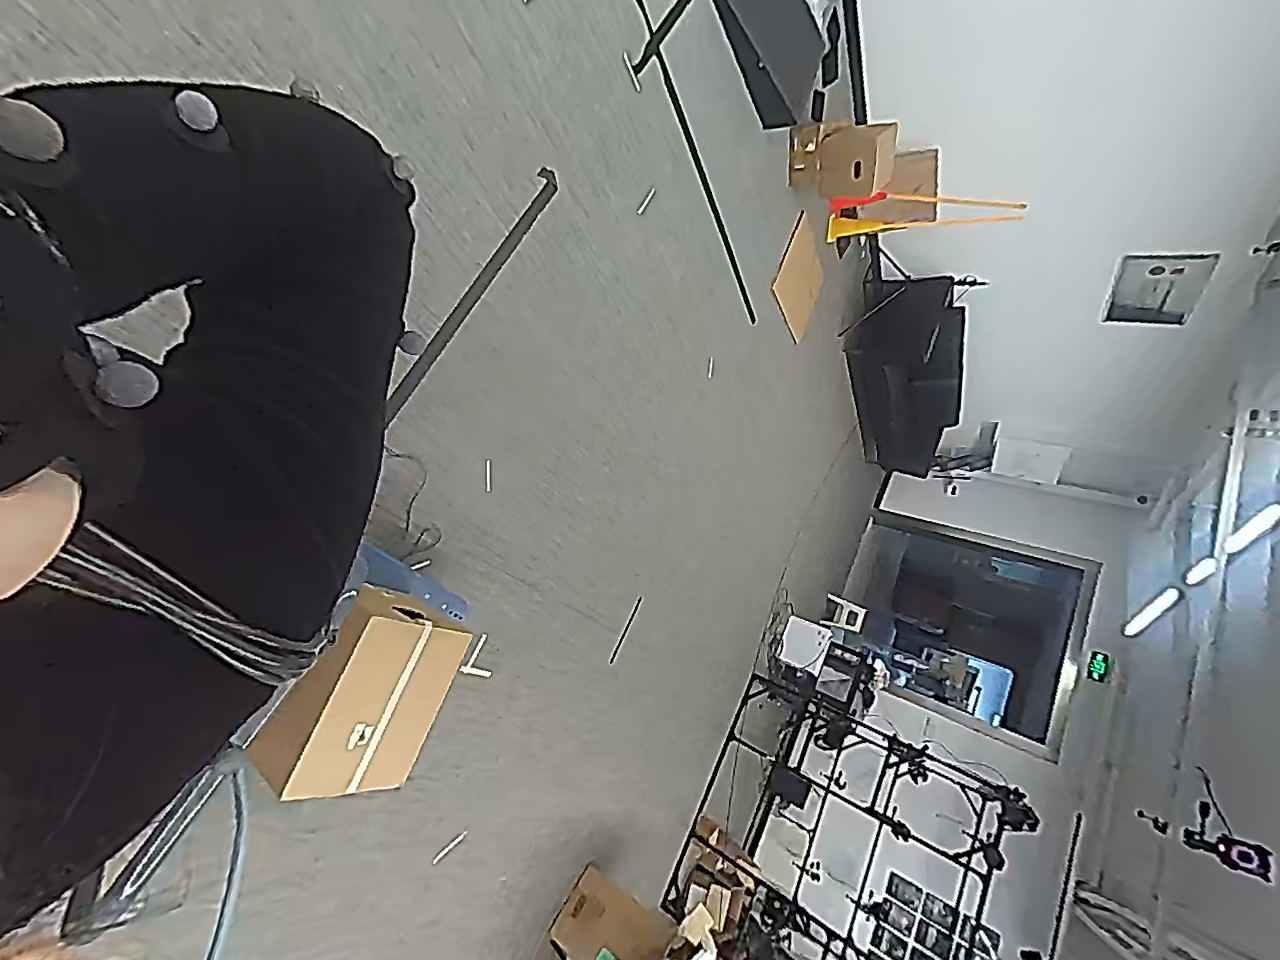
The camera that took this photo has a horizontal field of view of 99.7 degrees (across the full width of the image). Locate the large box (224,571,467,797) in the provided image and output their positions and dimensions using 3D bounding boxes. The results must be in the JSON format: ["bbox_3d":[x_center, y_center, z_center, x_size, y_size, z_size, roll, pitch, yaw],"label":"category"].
[{"bbox_3d":[-0.712,0.484,1.334,0.320,0.320,0.408,38,72,-53],"label":"large box"}]
